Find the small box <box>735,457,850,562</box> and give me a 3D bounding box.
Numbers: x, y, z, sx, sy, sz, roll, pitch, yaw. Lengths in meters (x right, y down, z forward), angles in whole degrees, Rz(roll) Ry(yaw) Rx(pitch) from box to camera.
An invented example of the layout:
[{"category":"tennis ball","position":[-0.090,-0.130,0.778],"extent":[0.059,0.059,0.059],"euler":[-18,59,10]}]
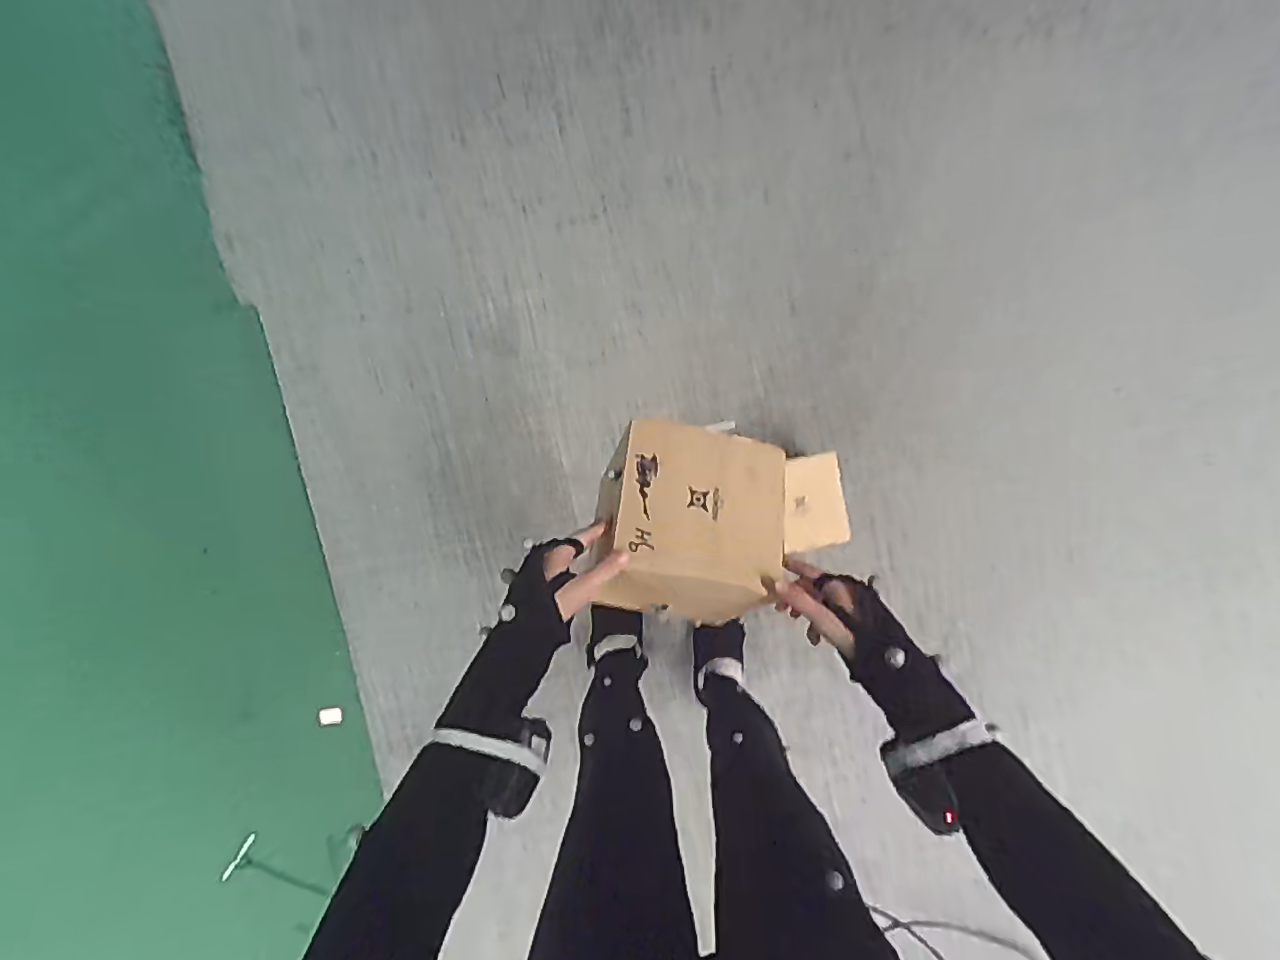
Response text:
[{"category":"small box","position":[0.300,0.053,1.097],"extent":[0.168,0.176,0.179],"euler":[-12,93,0]}]
